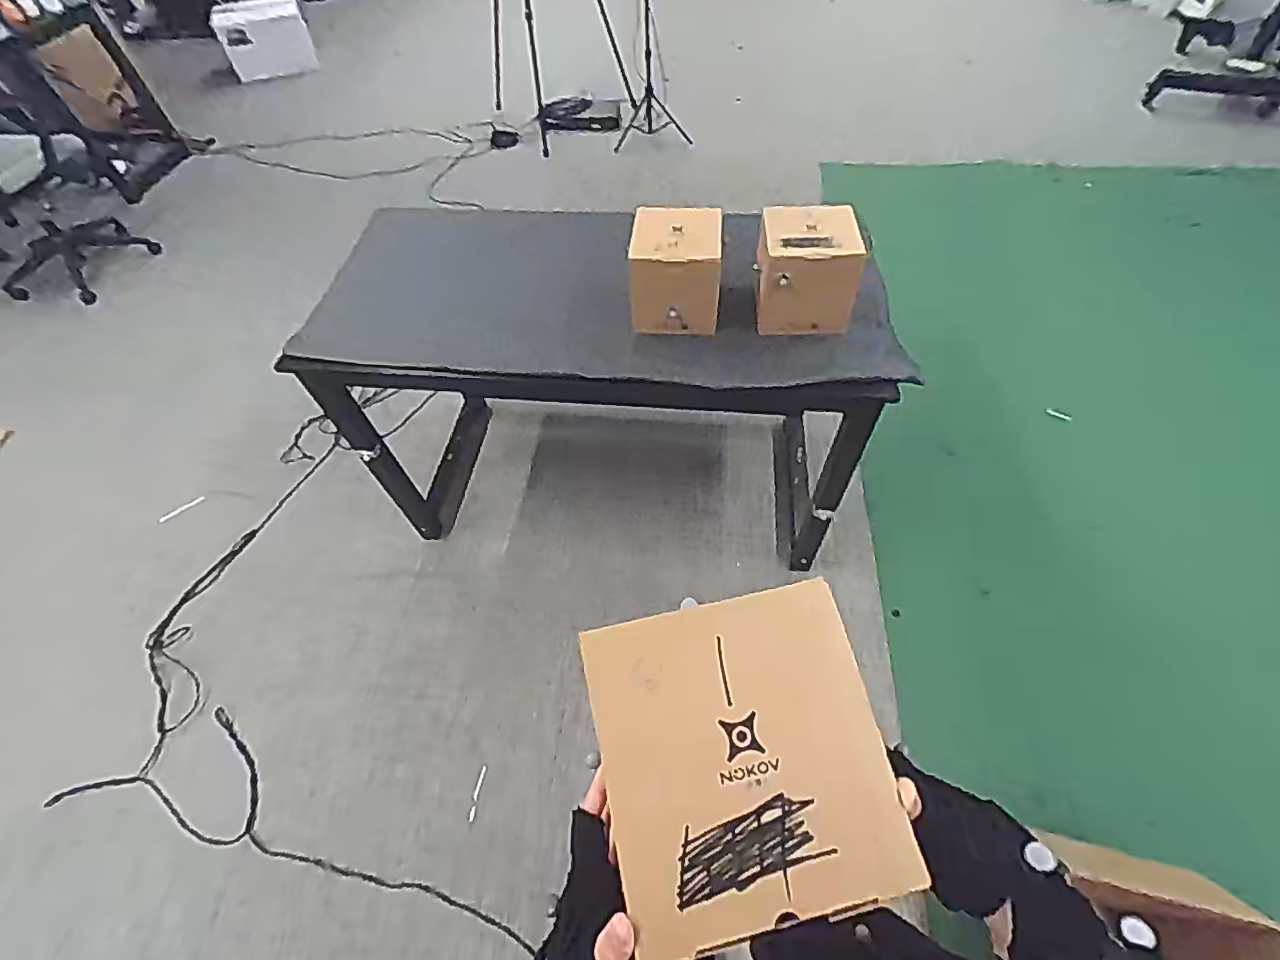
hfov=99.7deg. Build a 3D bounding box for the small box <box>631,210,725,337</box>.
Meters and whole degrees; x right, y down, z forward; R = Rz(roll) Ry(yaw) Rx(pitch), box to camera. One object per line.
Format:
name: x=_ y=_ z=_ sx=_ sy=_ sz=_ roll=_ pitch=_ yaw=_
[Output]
small box: x=0.076 y=-0.405 z=1.065 sx=0.168 sy=0.176 sz=0.179 roll=3 pitch=54 yaw=6
